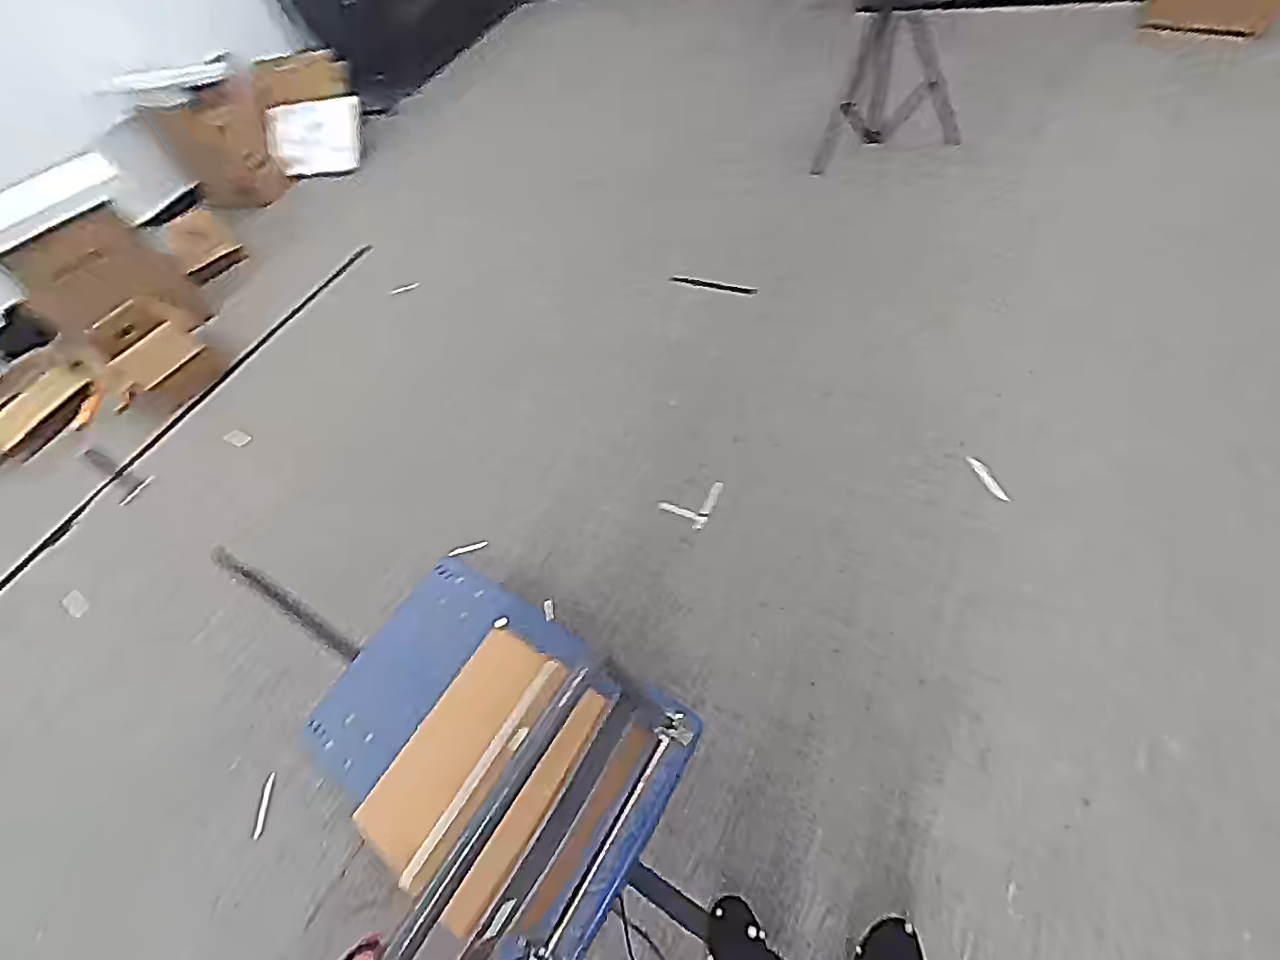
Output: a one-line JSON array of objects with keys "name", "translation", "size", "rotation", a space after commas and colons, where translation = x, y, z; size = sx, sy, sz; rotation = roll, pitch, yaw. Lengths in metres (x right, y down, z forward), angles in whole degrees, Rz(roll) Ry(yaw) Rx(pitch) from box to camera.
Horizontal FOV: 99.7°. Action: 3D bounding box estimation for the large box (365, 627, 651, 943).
[{"name": "large box", "translation": [-0.230, 0.584, 1.078], "size": [0.320, 0.320, 0.408], "rotation": [25, 66, 26]}]
